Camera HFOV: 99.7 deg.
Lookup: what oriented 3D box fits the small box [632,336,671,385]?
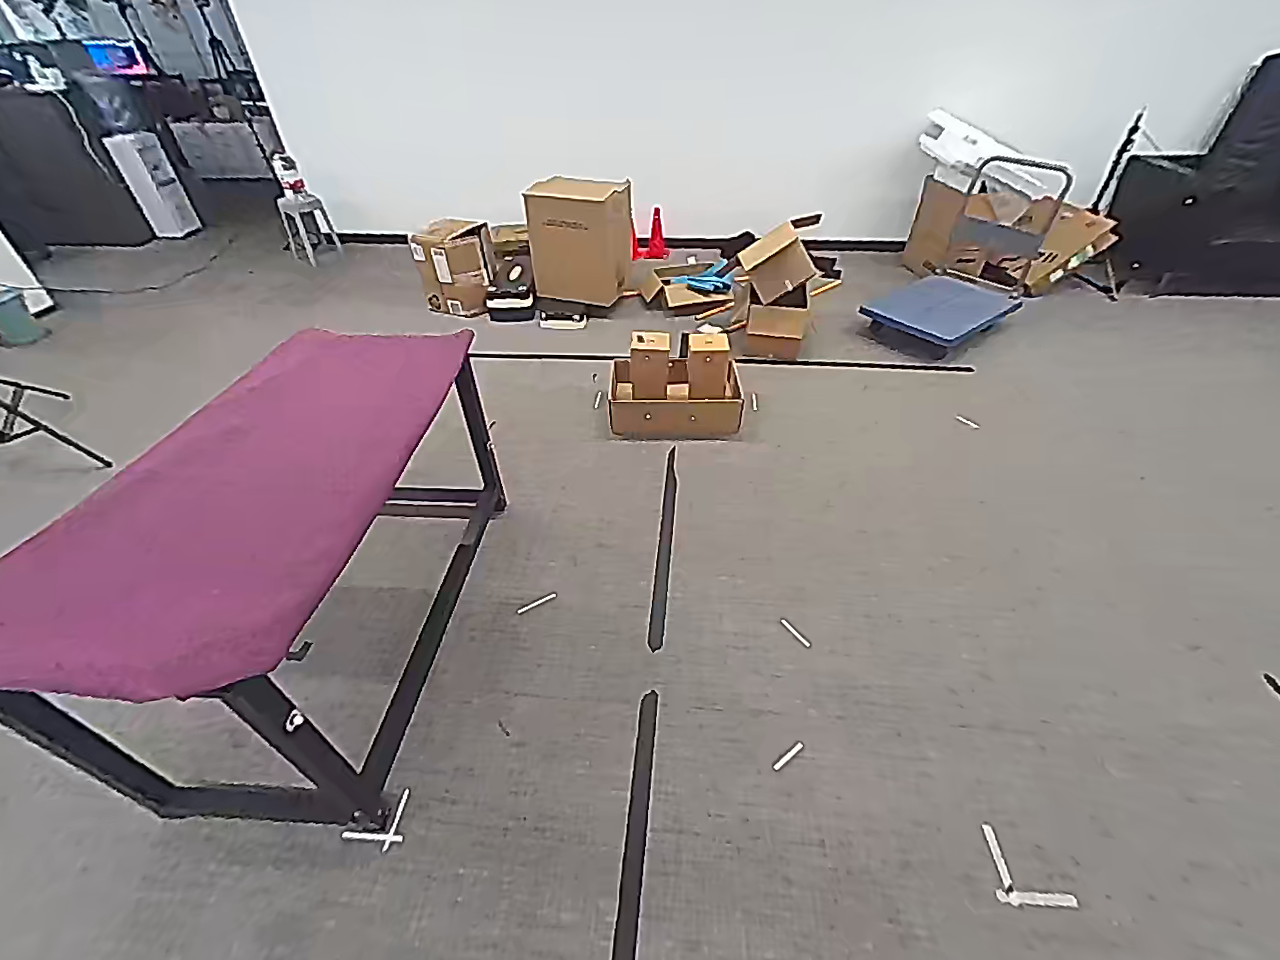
[{"bbox_3d":[0.052,-0.557,2.518,0.179,0.176,0.168,2,41,1],"label":"small box"}]

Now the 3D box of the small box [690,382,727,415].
[{"bbox_3d":[0.327,-0.426,2.612,0.168,0.176,0.179,0,40,2],"label":"small box"}]

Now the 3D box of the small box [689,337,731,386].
[{"bbox_3d":[0.320,-0.548,2.504,0.179,0.176,0.168,-1,41,2],"label":"small box"}]
